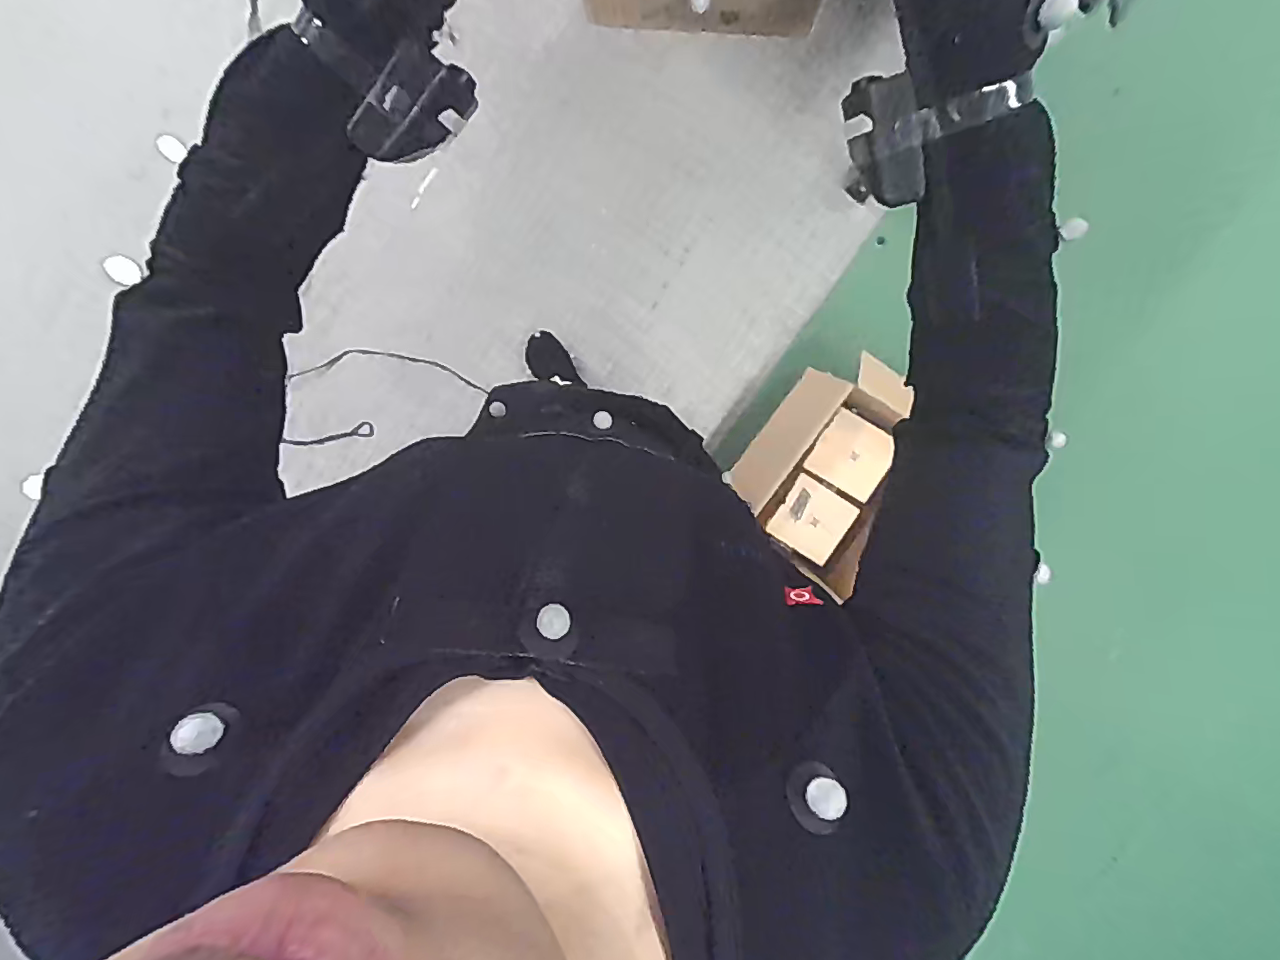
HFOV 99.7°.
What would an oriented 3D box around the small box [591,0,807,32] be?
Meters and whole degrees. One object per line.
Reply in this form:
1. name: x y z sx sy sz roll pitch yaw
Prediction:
1. small box: 0.039 -0.404 0.302 0.168 0.176 0.179 5 102 3
